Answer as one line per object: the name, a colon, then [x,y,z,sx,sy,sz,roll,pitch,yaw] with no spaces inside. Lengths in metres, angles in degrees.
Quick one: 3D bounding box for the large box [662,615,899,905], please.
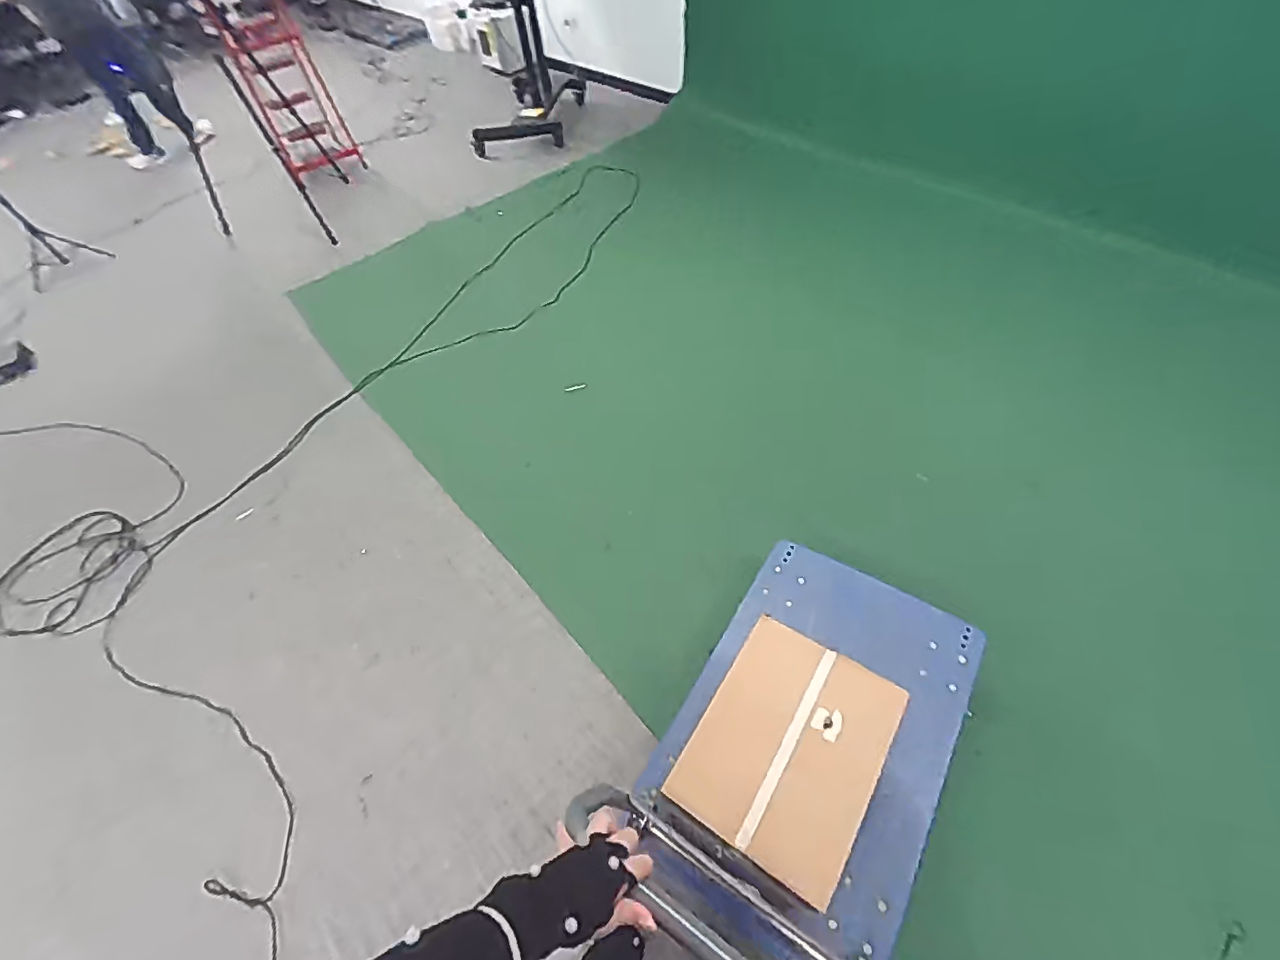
large box: [0.284,0.576,1.128,0.320,0.320,0.408,26,59,24]
